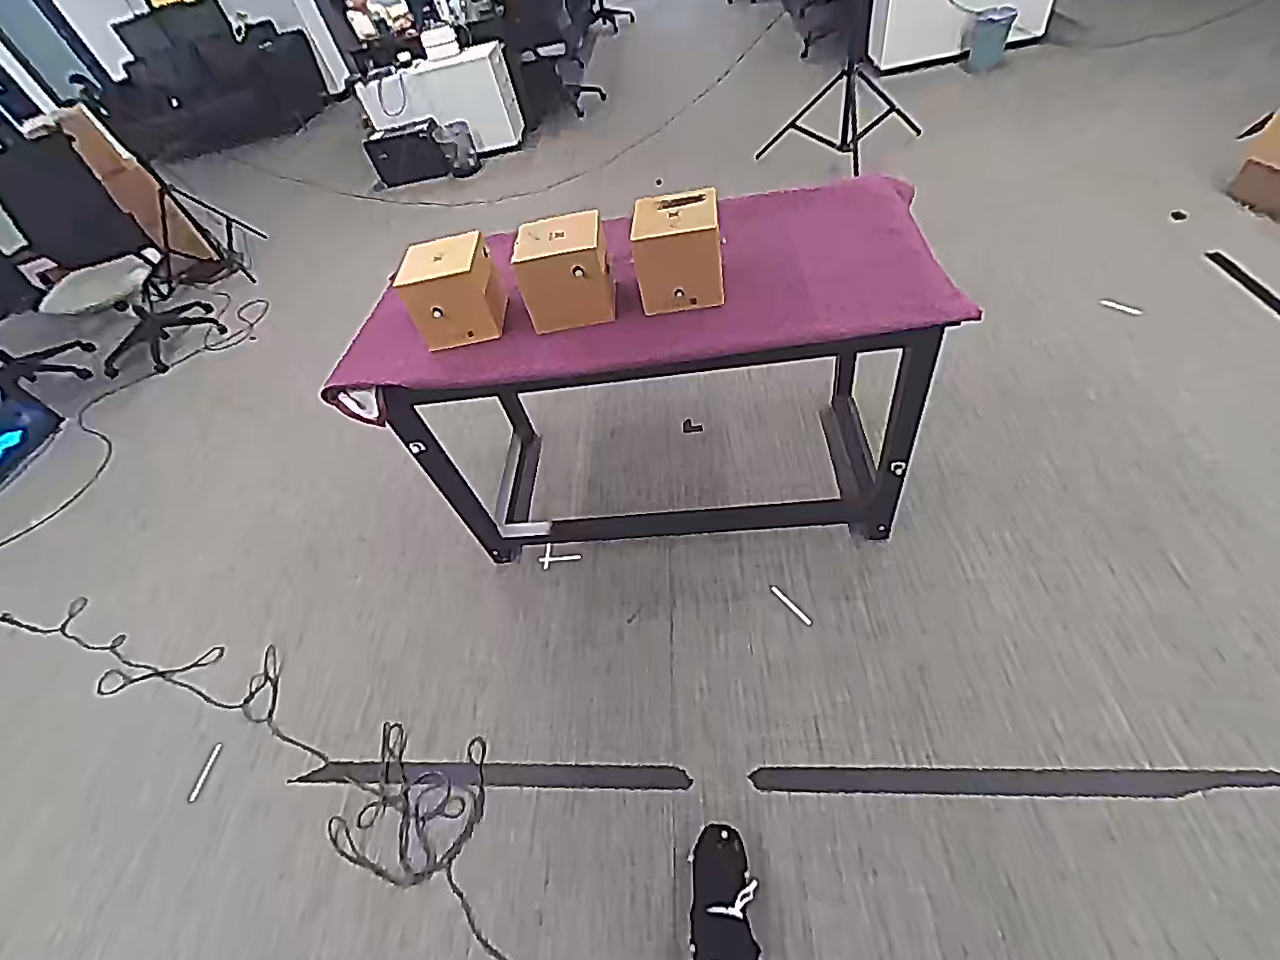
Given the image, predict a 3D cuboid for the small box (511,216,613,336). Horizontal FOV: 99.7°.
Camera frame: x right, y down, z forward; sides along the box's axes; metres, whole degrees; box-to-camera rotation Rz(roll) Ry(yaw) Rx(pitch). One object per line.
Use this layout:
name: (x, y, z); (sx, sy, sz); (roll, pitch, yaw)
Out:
small box: (-0.156, -0.432, 1.155); (0.179, 0.176, 0.168); (-8, 48, 7)

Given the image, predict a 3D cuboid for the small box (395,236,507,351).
small box: (-0.407, -0.404, 1.198); (0.168, 0.176, 0.179); (-11, 48, 5)
